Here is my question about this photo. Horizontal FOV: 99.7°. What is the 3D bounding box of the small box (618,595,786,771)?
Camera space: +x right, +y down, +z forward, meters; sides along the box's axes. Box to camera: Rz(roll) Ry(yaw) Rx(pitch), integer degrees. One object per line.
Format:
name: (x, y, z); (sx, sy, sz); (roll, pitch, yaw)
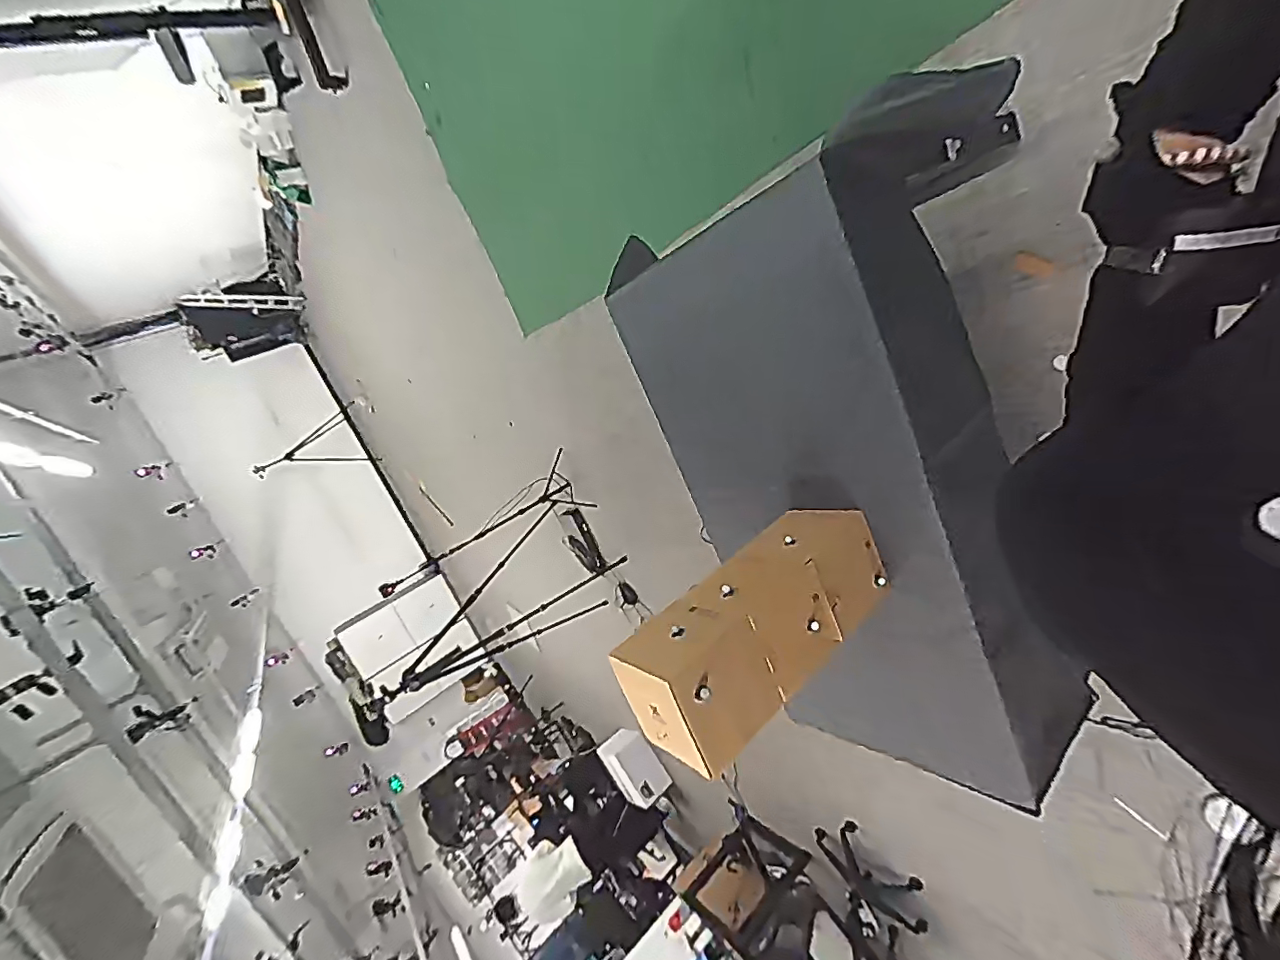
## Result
small box: (0.100, 0.305, 0.858); (0.168, 0.176, 0.179); (-3, 114, 57)

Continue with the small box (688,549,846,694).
small box: (0.221, 0.233, 0.943); (0.179, 0.176, 0.168); (-6, 112, 57)

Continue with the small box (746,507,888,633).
small box: (0.341, 0.160, 1.024); (0.179, 0.176, 0.168); (-5, 112, 59)
